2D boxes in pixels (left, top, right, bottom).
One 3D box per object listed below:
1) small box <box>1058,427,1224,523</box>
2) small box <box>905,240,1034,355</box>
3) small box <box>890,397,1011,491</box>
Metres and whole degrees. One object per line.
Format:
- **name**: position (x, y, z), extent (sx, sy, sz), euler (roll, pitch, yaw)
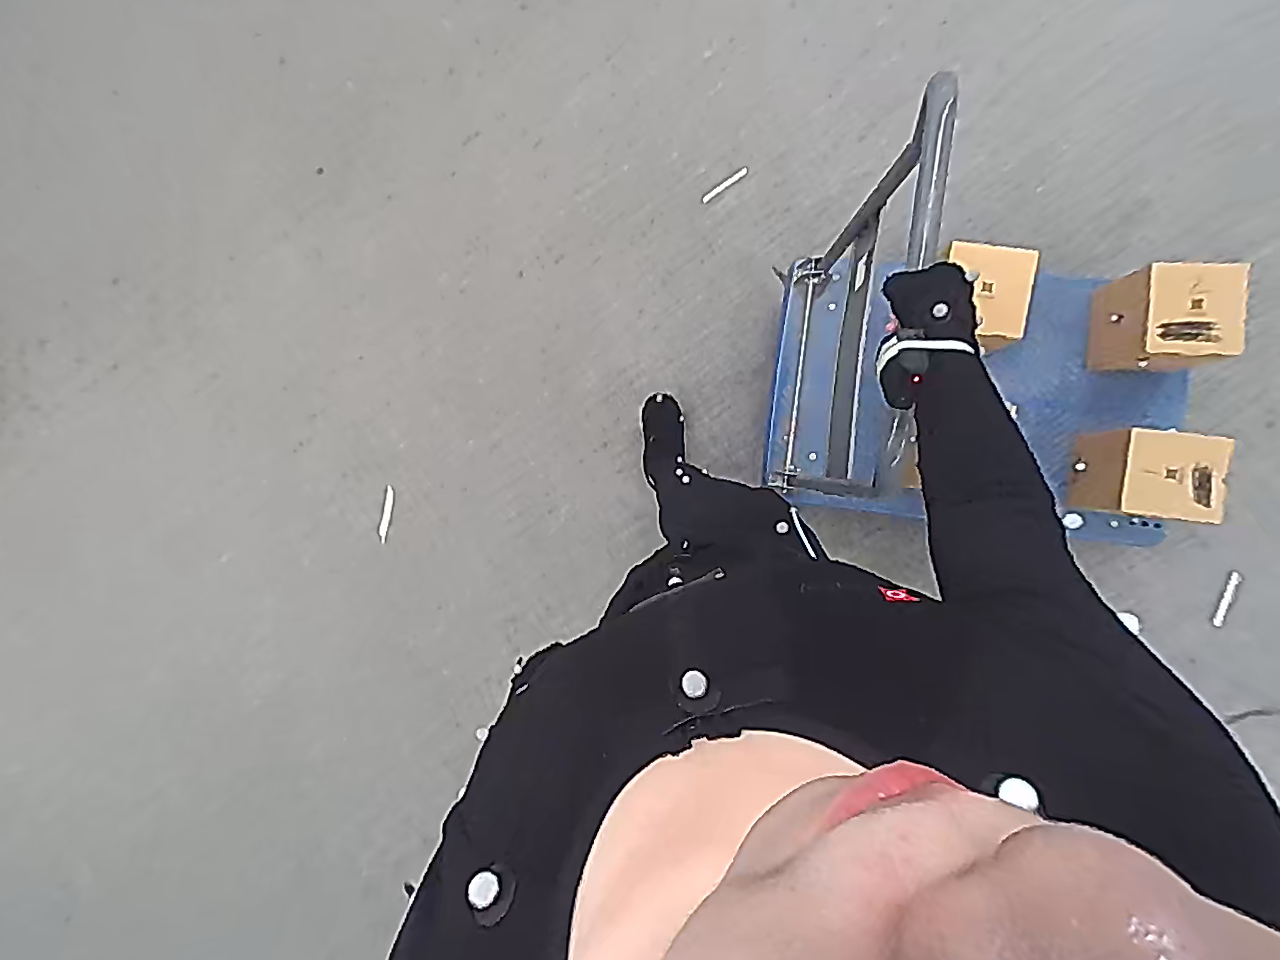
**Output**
- **small box**: position (1.018, -0.011, 1.113), extent (0.179, 0.176, 0.168), euler (8, 91, 7)
- **small box**: position (0.687, -0.380, 1.148), extent (0.168, 0.176, 0.179), euler (10, 93, 6)
- **small box**: position (0.651, -0.072, 1.153), extent (0.168, 0.176, 0.179), euler (5, 91, 6)
